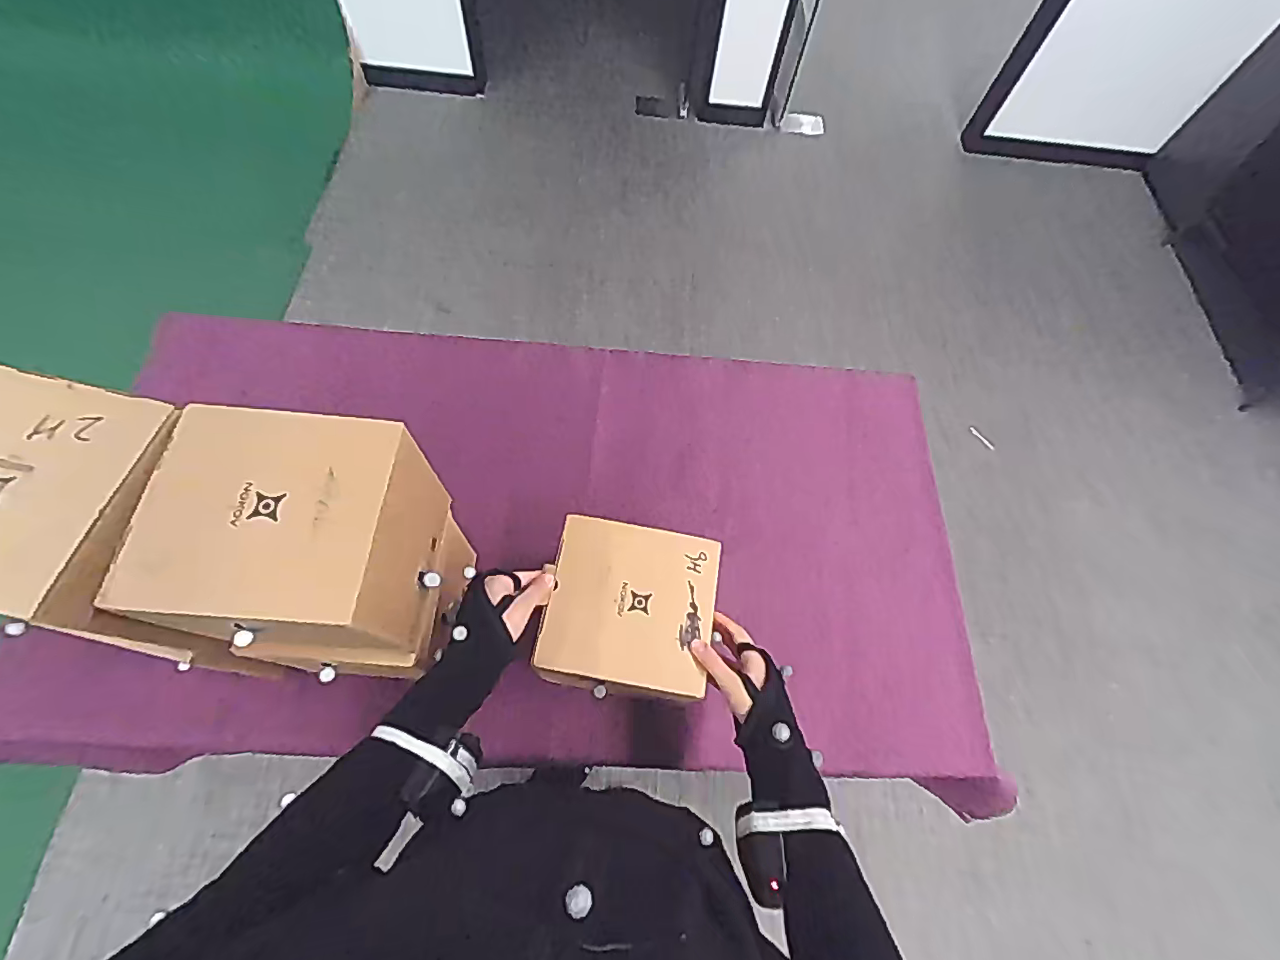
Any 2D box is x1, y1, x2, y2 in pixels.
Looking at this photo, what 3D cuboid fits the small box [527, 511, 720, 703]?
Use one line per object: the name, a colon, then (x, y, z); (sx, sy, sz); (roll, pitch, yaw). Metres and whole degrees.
small box: (-0.017, 0.156, 0.629); (0.179, 0.176, 0.168); (12, 64, 1)
